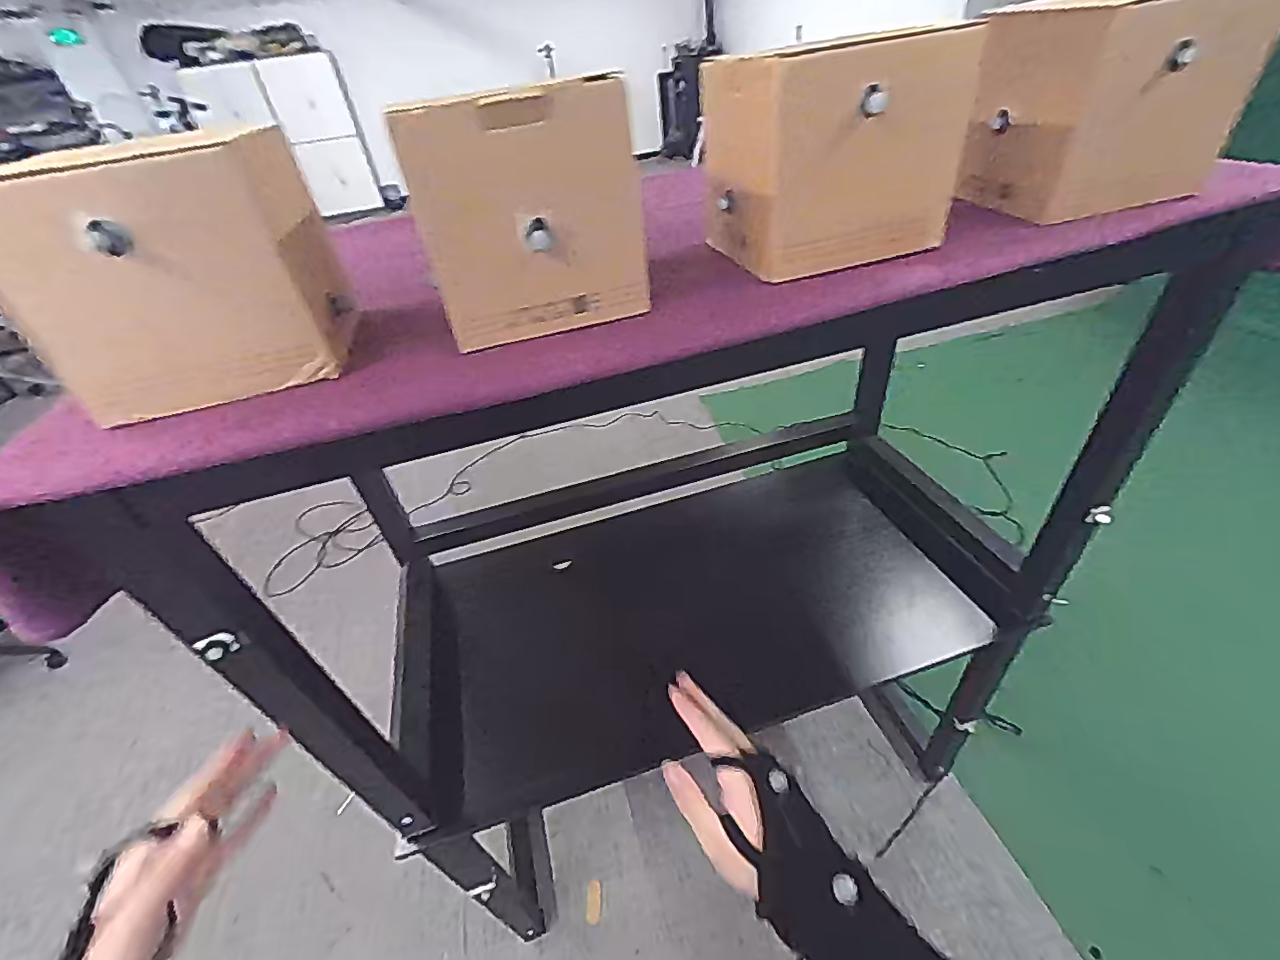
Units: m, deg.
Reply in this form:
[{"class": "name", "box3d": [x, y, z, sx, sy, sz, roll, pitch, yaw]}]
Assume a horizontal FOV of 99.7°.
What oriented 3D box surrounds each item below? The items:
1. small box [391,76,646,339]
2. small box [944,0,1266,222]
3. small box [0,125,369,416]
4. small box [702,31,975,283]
[{"class": "small box", "box3d": [-0.100, -0.238, 0.477, 0.168, 0.176, 0.179, -15, 39, -9]}, {"class": "small box", "box3d": [0.446, -0.381, 0.557, 0.179, 0.176, 0.168, -13, 40, -5]}, {"class": "small box", "box3d": [-0.349, -0.171, 0.436, 0.179, 0.176, 0.168, -15, 40, -10]}, {"class": "small box", "box3d": [0.170, -0.309, 0.521, 0.179, 0.176, 0.168, -16, 38, -8]}]
